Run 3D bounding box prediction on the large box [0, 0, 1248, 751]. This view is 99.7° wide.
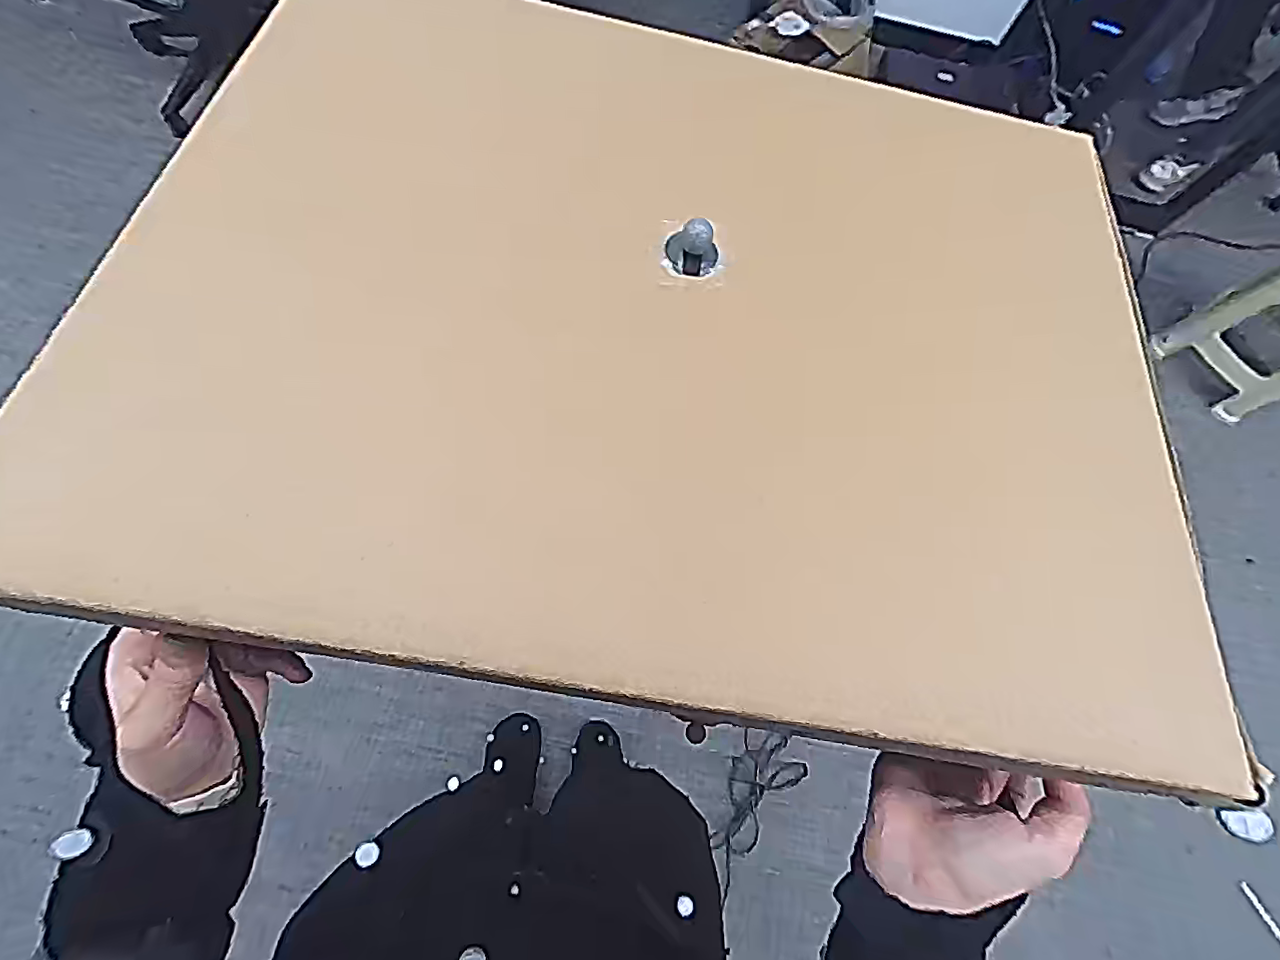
[{"bbox_3d":[-0.001,-0.035,0.353,0.408,0.320,0.320,10,70,-3],"label":"large box"}]
